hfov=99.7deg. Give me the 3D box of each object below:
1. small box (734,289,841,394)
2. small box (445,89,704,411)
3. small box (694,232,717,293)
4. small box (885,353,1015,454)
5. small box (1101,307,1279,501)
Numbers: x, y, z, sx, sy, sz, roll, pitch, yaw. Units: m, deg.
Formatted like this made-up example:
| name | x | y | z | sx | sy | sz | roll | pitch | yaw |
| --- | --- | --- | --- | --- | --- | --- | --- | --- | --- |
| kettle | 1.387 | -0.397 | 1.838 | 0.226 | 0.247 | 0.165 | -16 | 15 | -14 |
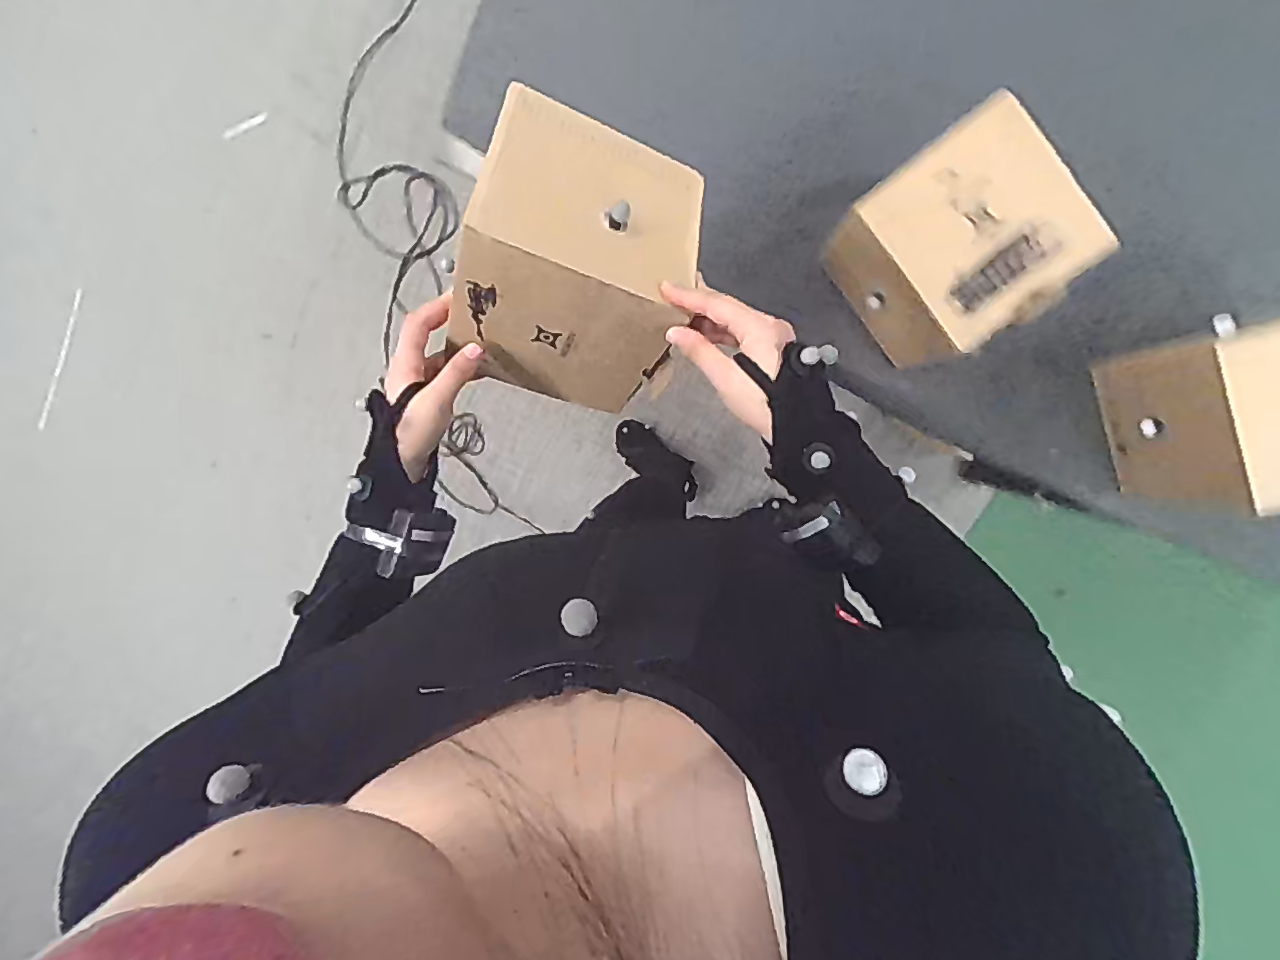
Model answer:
| name | x | y | z | sx | sy | sz | roll | pitch | yaw |
| --- | --- | --- | --- | --- | --- | --- | --- | --- | --- |
| small box | 0.345 | -0.325 | 1.304 | 0.179 | 0.176 | 0.168 | 42 | 99 | 1 |
| small box | -0.055 | -0.190 | 0.475 | 0.179 | 0.168 | 0.176 | 16 | 63 | -19 |
| small box | 0.072 | -0.528 | 1.308 | 0.179 | 0.176 | 0.168 | -30 | 93 | 8 |
| small box | 0.720 | -0.179 | 1.282 | 0.179 | 0.176 | 0.168 | 33 | 100 | 0 |
| small box | 0.630 | -0.084 | 0.561 | 0.179 | 0.176 | 0.168 | -16 | 93 | 8 |
